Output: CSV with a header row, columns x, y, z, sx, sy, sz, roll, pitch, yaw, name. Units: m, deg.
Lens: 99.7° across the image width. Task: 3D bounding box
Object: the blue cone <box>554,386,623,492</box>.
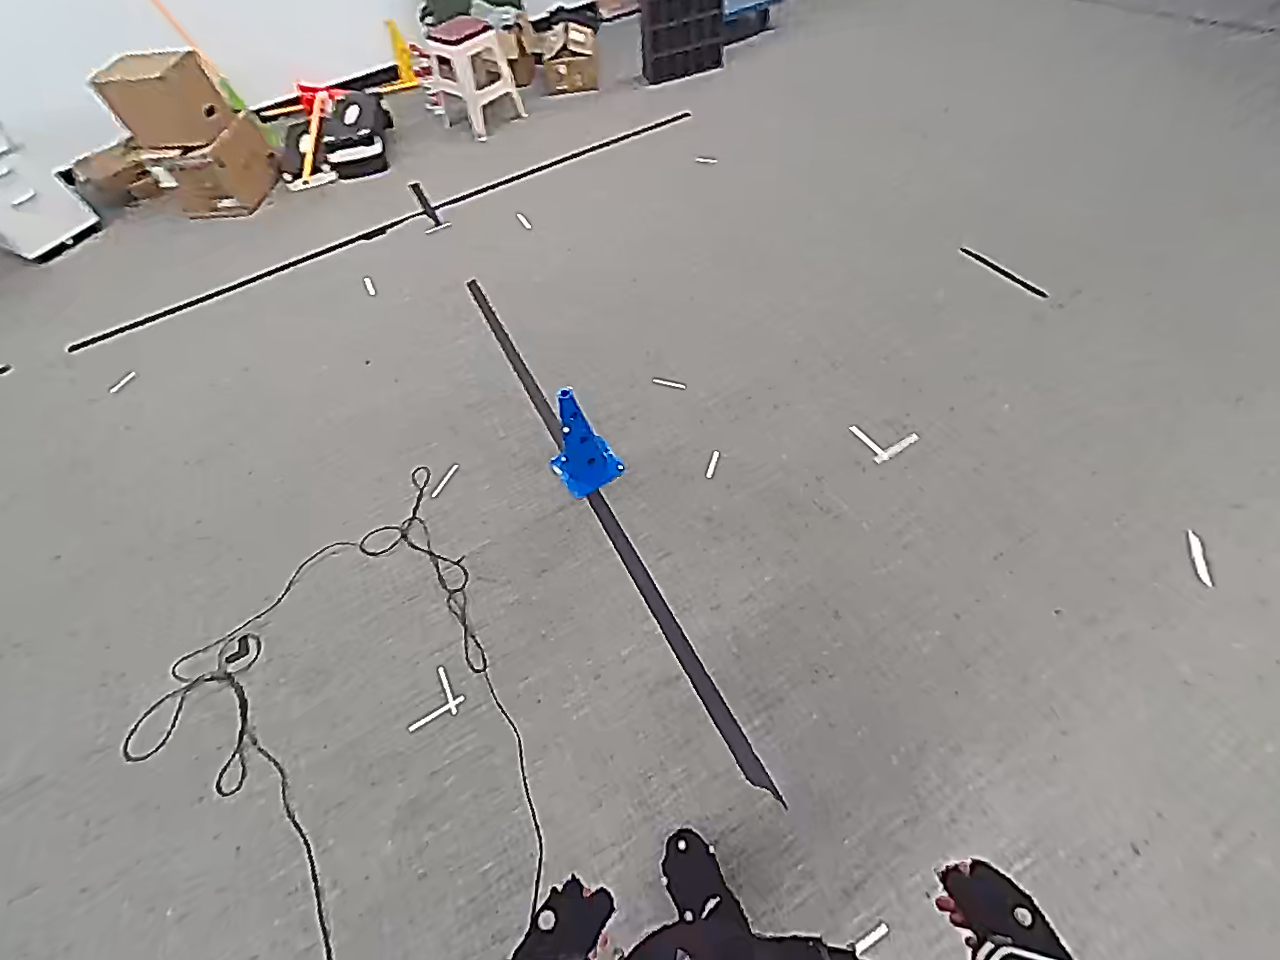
x,y,z,sx,sy,sz,roll,pitch,yaw,name
-0.191,-0.148,1.679,0.192,0.380,0.193,-29,58,-14,blue cone
